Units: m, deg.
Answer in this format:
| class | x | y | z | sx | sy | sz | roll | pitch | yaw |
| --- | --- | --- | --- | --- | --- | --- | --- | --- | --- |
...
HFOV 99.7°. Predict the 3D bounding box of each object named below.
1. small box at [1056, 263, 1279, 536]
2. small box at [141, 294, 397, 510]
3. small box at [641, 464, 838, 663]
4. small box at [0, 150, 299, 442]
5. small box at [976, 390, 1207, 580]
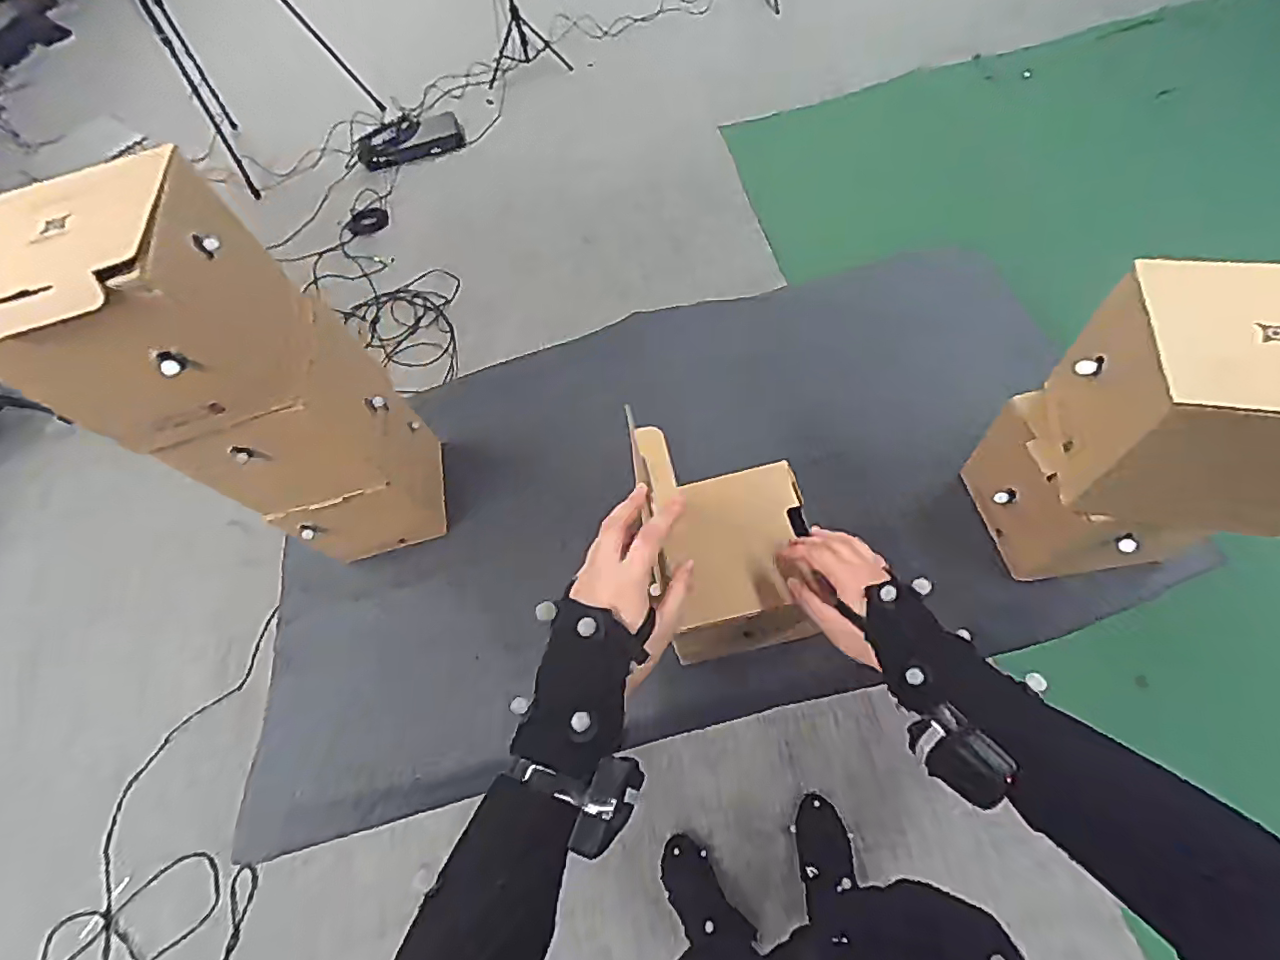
| class | x | y | z | sx | sy | sz | roll | pitch | yaw |
| --- | --- | --- | --- | --- | --- | --- | --- | --- | --- |
| small box | 0.504 | -0.065 | 0.477 | 0.179 | 0.176 | 0.168 | 9 | 61 | 14 |
| small box | -0.417 | -0.082 | 0.641 | 0.179 | 0.176 | 0.168 | -15 | 62 | 1 |
| small box | 0.110 | 0.107 | 0.643 | 0.179 | 0.176 | 0.168 | -14 | 60 | 3 |
| small box | -0.446 | -0.154 | 0.498 | 0.168 | 0.176 | 0.179 | -18 | 60 | -2 |
| small box | 0.523 | 0.004 | 0.625 | 0.179 | 0.176 | 0.168 | -11 | 58 | 5 |
